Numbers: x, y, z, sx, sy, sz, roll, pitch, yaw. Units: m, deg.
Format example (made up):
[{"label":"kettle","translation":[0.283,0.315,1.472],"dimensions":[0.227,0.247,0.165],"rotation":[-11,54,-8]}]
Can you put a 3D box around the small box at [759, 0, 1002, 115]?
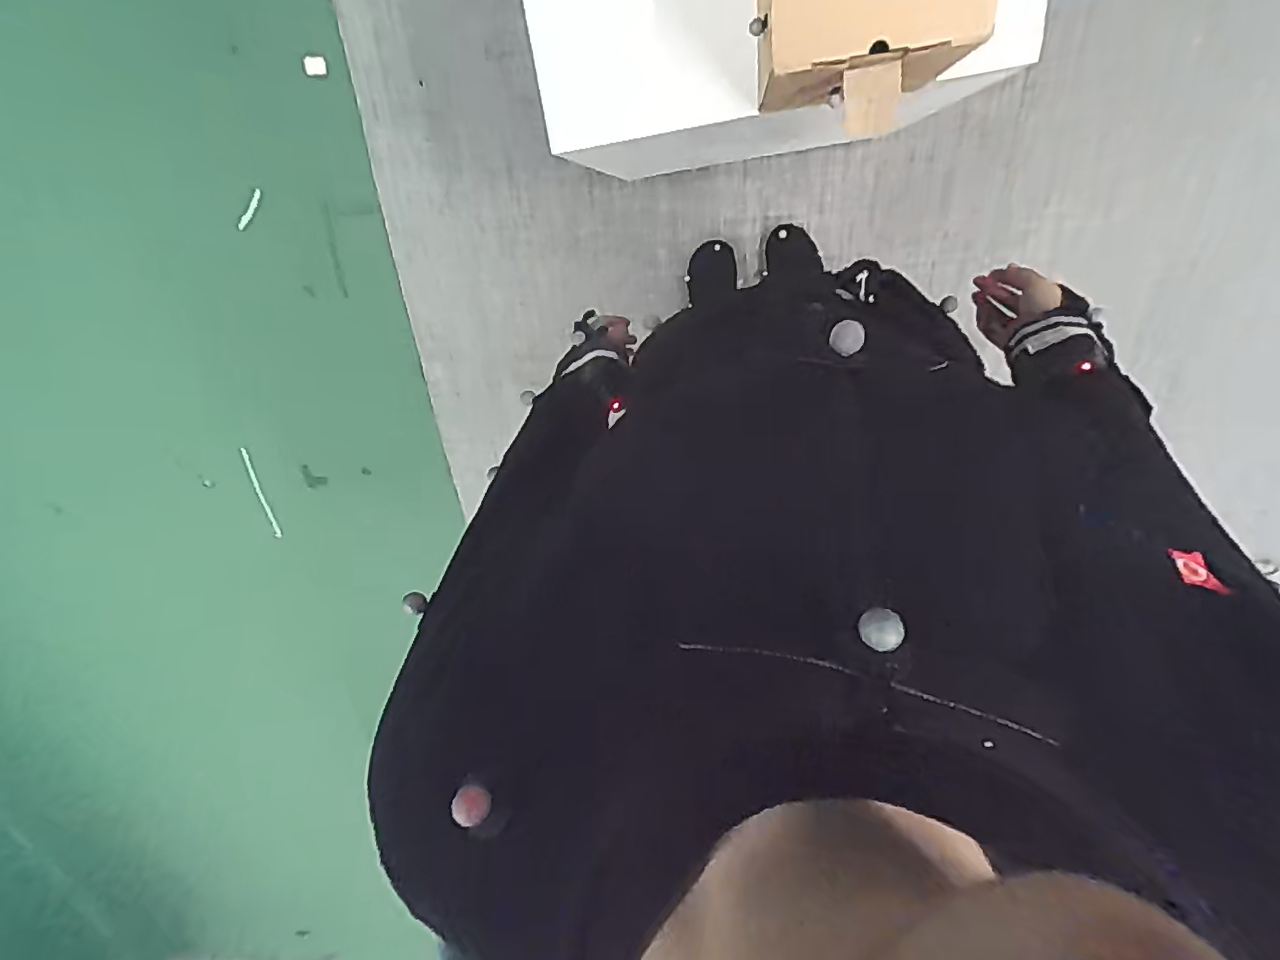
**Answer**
[{"label":"small box","translation":[0.189,-0.437,0.457],"dimensions":[0.168,0.176,0.179],"rotation":[-3,115,10]}]
